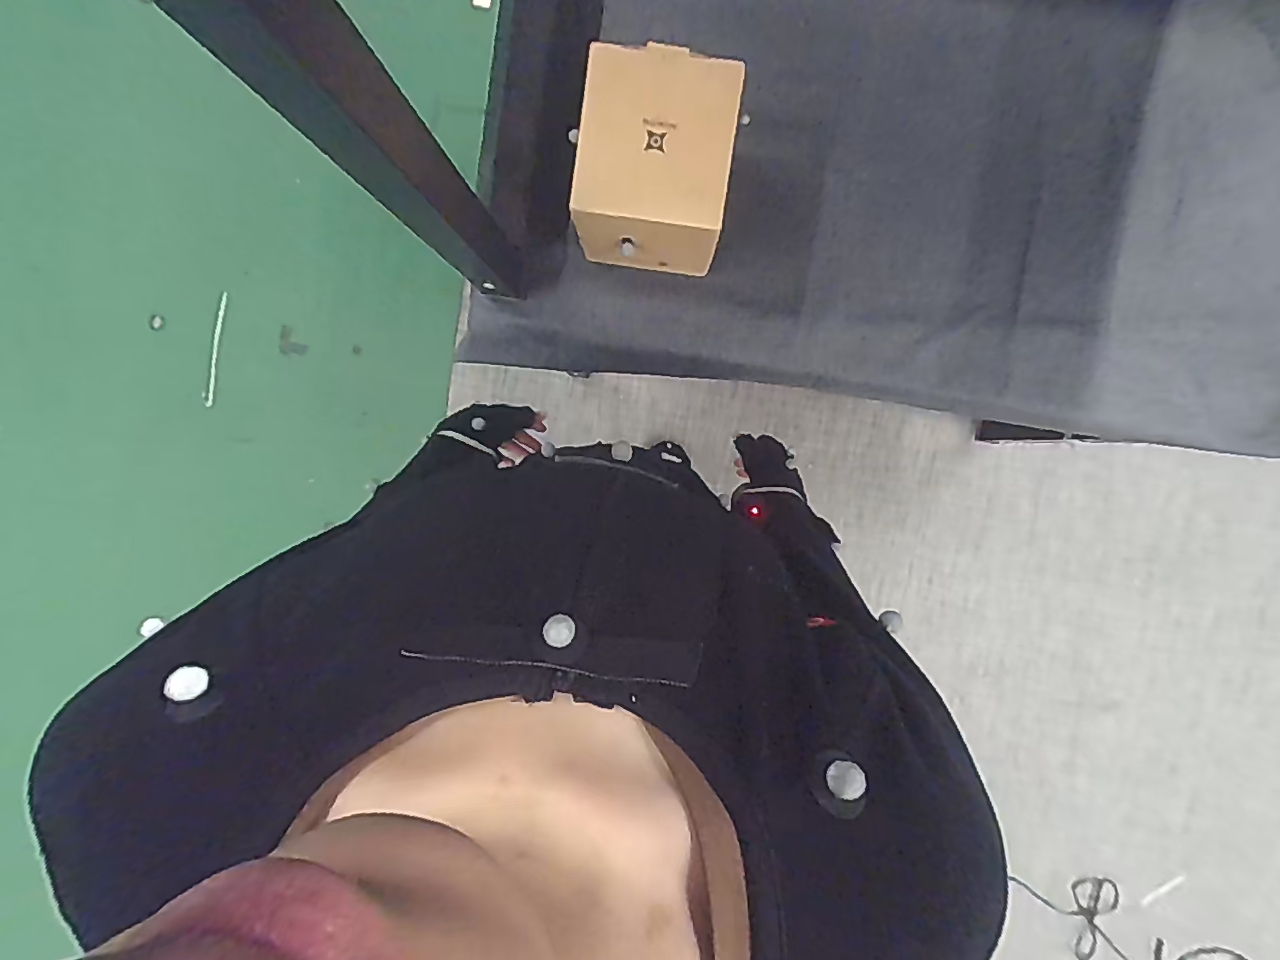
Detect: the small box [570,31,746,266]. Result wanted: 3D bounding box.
[{"bbox_3d":[0.021,-0.372,0.641,0.168,0.176,0.179,8,94,1],"label":"small box"}]
